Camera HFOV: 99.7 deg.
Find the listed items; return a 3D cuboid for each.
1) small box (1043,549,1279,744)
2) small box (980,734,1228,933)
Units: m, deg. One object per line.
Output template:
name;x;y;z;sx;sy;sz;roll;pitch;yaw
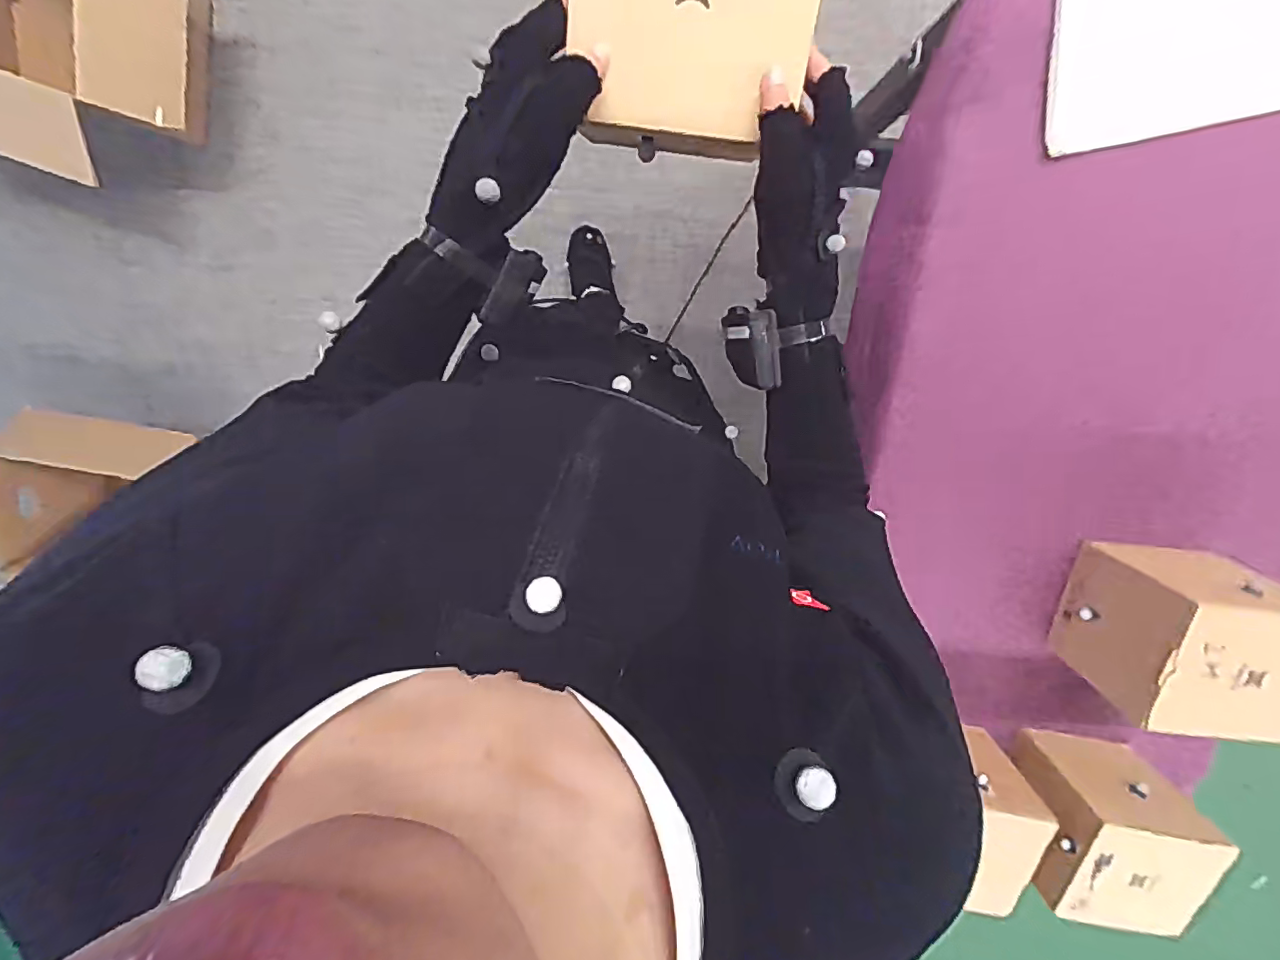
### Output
small box;0.672;0.199;0.682;0.179;0.176;0.168;6;107;0
small box;0.644;0.495;0.777;0.179;0.176;0.168;10;107;-2
